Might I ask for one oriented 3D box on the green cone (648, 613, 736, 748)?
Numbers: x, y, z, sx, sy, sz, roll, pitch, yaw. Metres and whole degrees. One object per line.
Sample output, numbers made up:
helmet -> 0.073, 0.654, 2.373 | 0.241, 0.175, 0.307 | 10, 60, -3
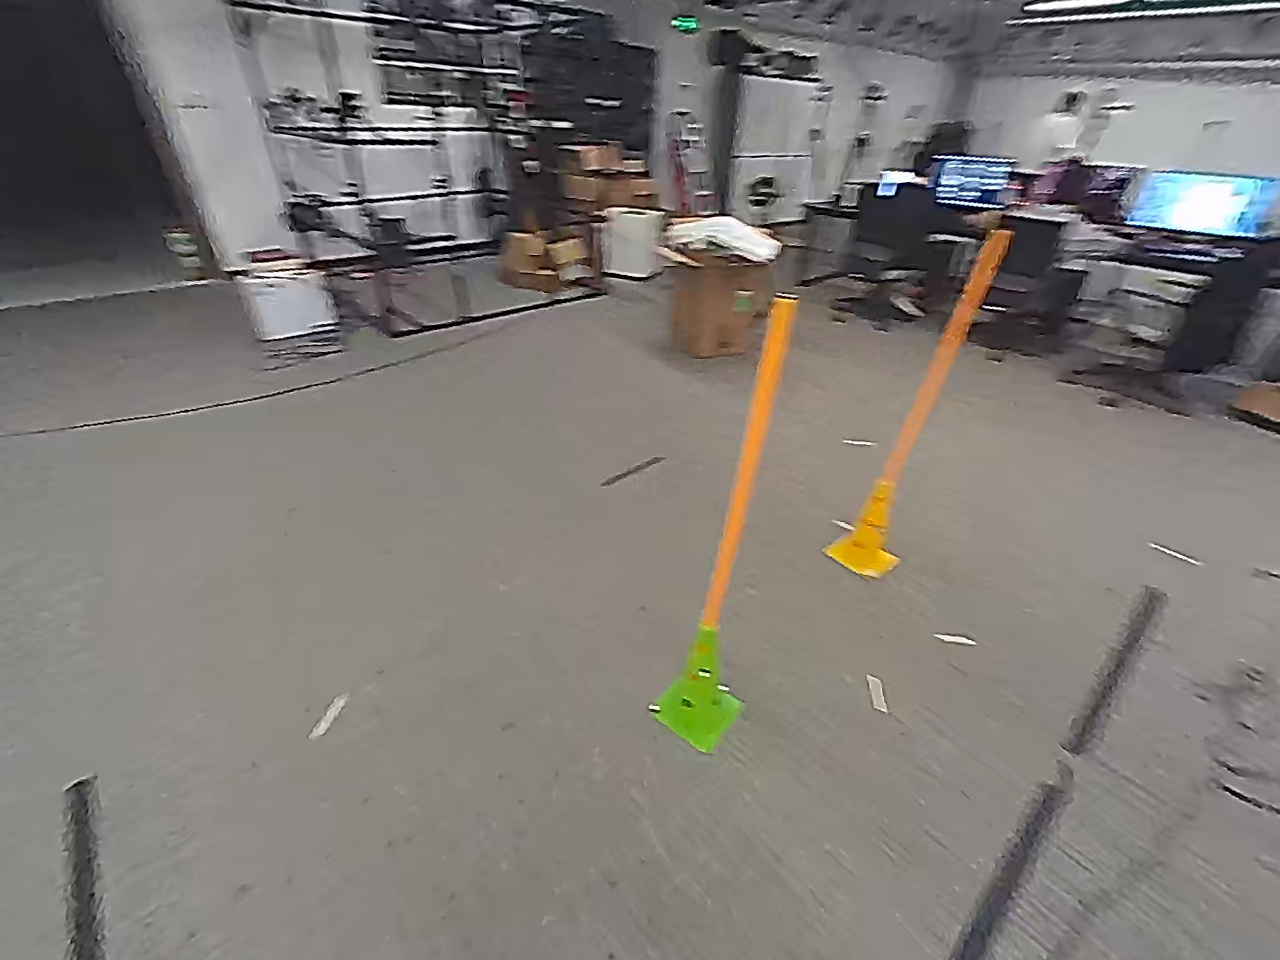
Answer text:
green cone -> 0.162, 0.506, 1.464 | 0.200, 0.368, 0.202 | 25, 38, 30
